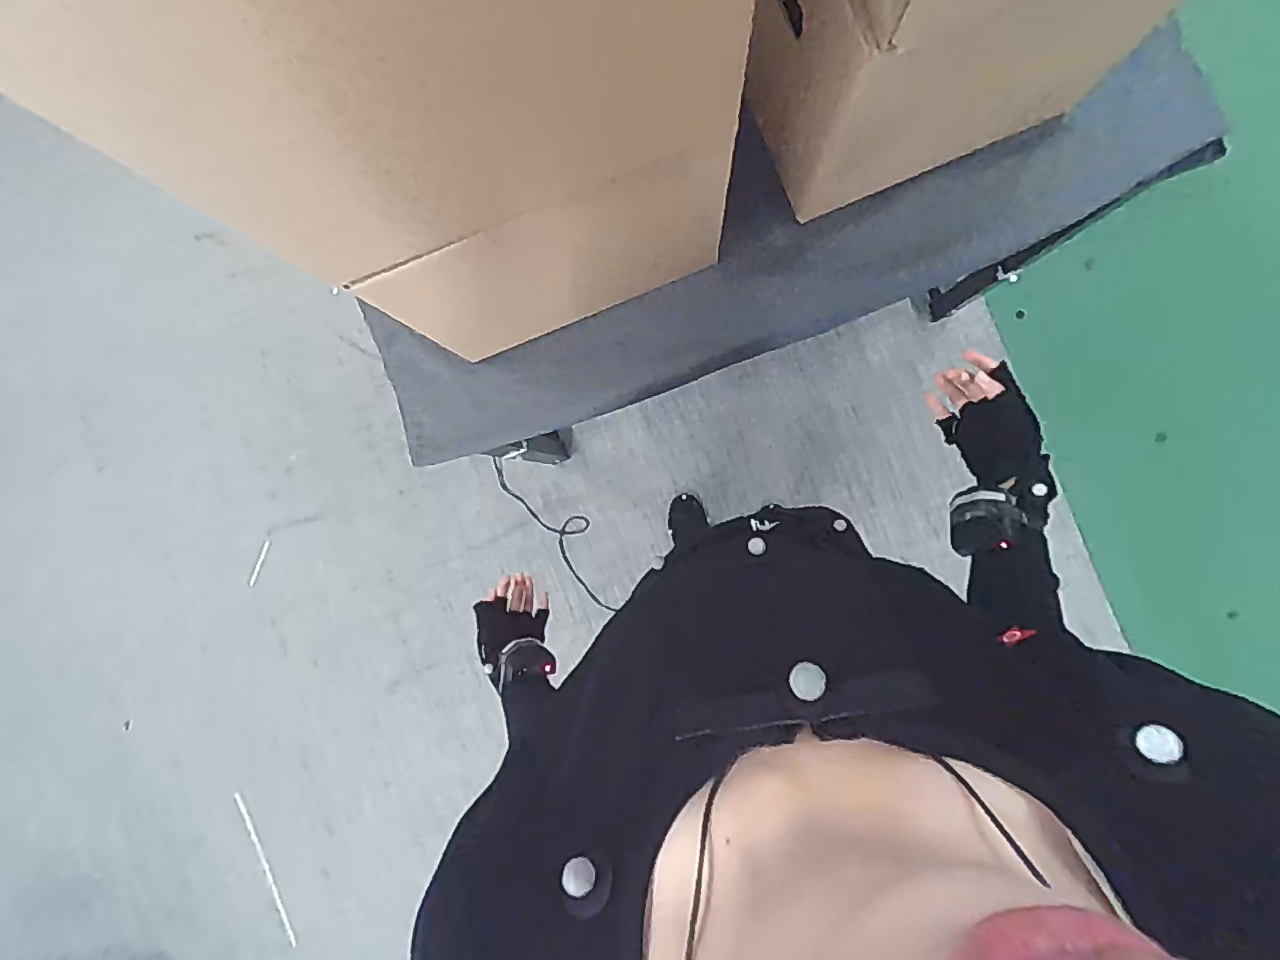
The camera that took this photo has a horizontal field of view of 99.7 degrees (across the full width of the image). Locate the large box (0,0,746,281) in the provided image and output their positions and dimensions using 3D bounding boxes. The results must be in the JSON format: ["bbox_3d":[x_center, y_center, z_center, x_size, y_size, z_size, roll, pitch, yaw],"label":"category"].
[{"bbox_3d":[-0.165,-0.398,0.360,0.408,0.320,0.320,-20,88,2],"label":"large box"}]
